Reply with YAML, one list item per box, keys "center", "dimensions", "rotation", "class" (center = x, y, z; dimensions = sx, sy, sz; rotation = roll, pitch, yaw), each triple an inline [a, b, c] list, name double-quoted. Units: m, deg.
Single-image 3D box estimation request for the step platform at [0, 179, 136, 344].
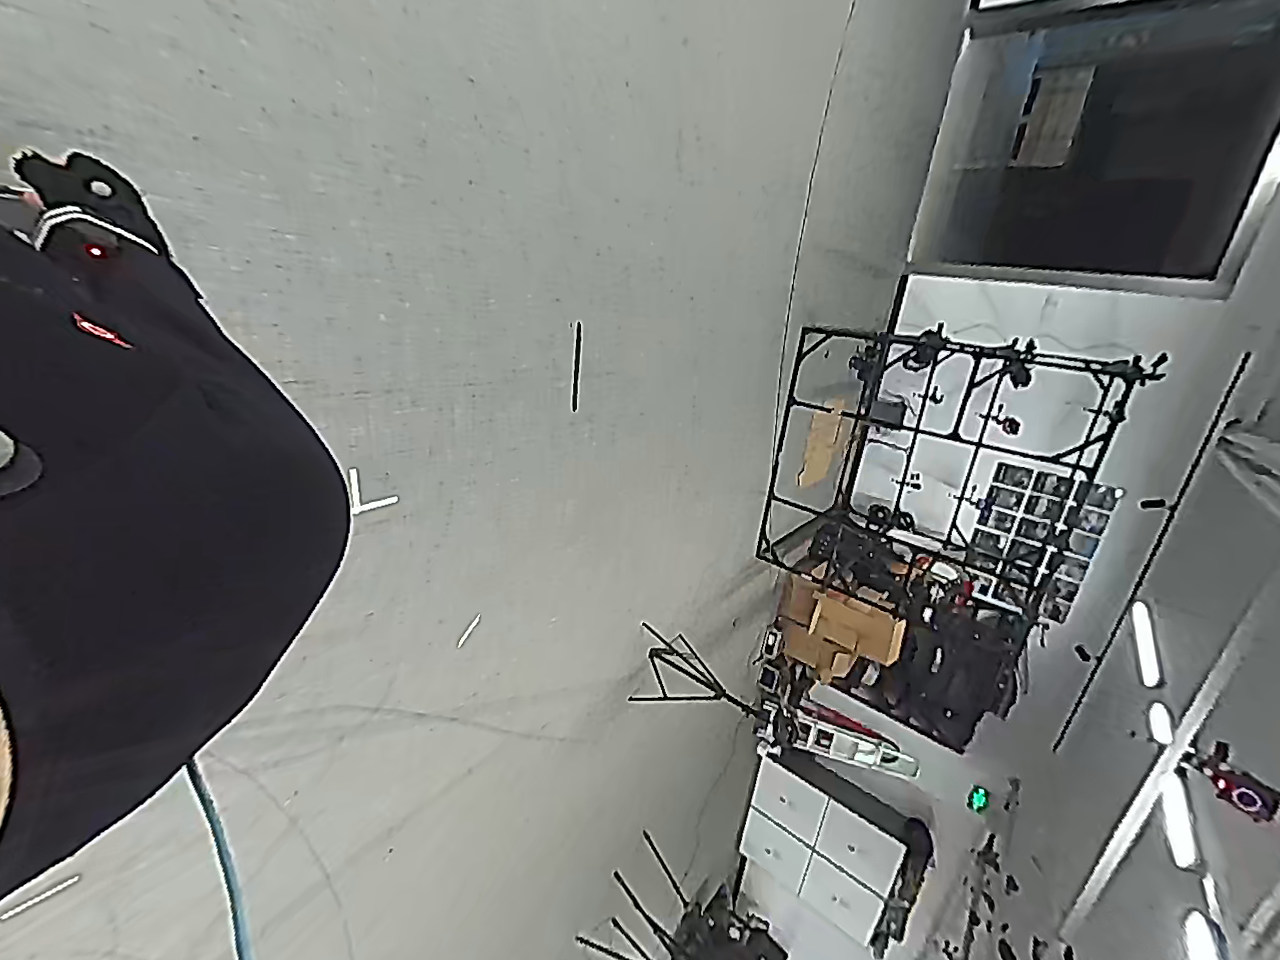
- center: [-1.290, -0.371, 0.878]
  dimensions: [0.684, 0.204, 0.286]
  rotation: [-21, 123, -50]
  class: "step platform"
